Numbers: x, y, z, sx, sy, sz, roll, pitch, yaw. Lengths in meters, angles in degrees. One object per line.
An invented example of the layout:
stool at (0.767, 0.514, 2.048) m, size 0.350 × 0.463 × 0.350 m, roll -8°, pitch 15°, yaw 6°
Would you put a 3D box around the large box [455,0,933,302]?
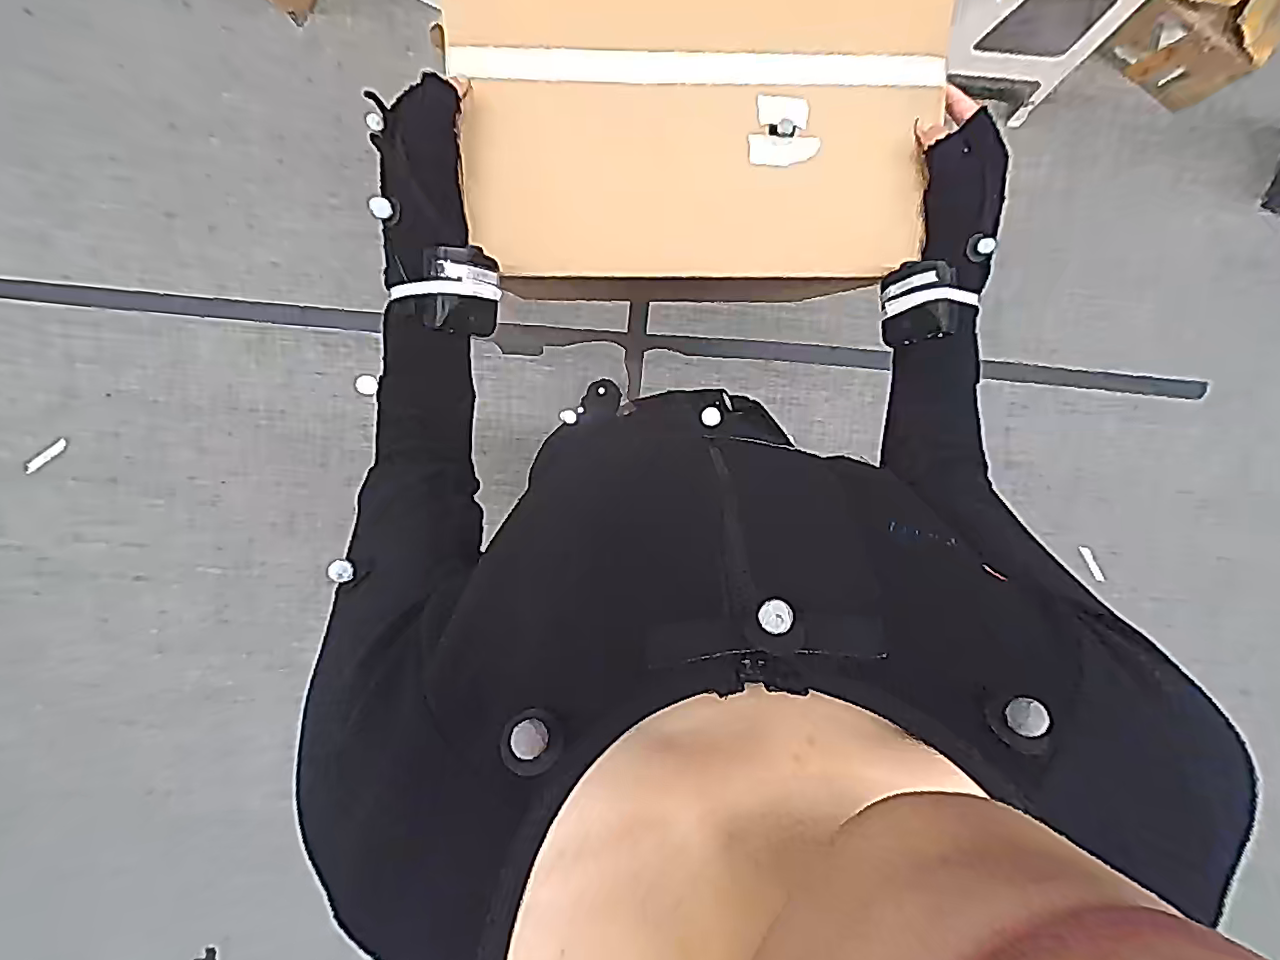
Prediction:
large box at (0.037, -0.375, 0.602) m, size 0.408 × 0.320 × 0.320 m, roll -1°, pitch 105°, yaw -4°
